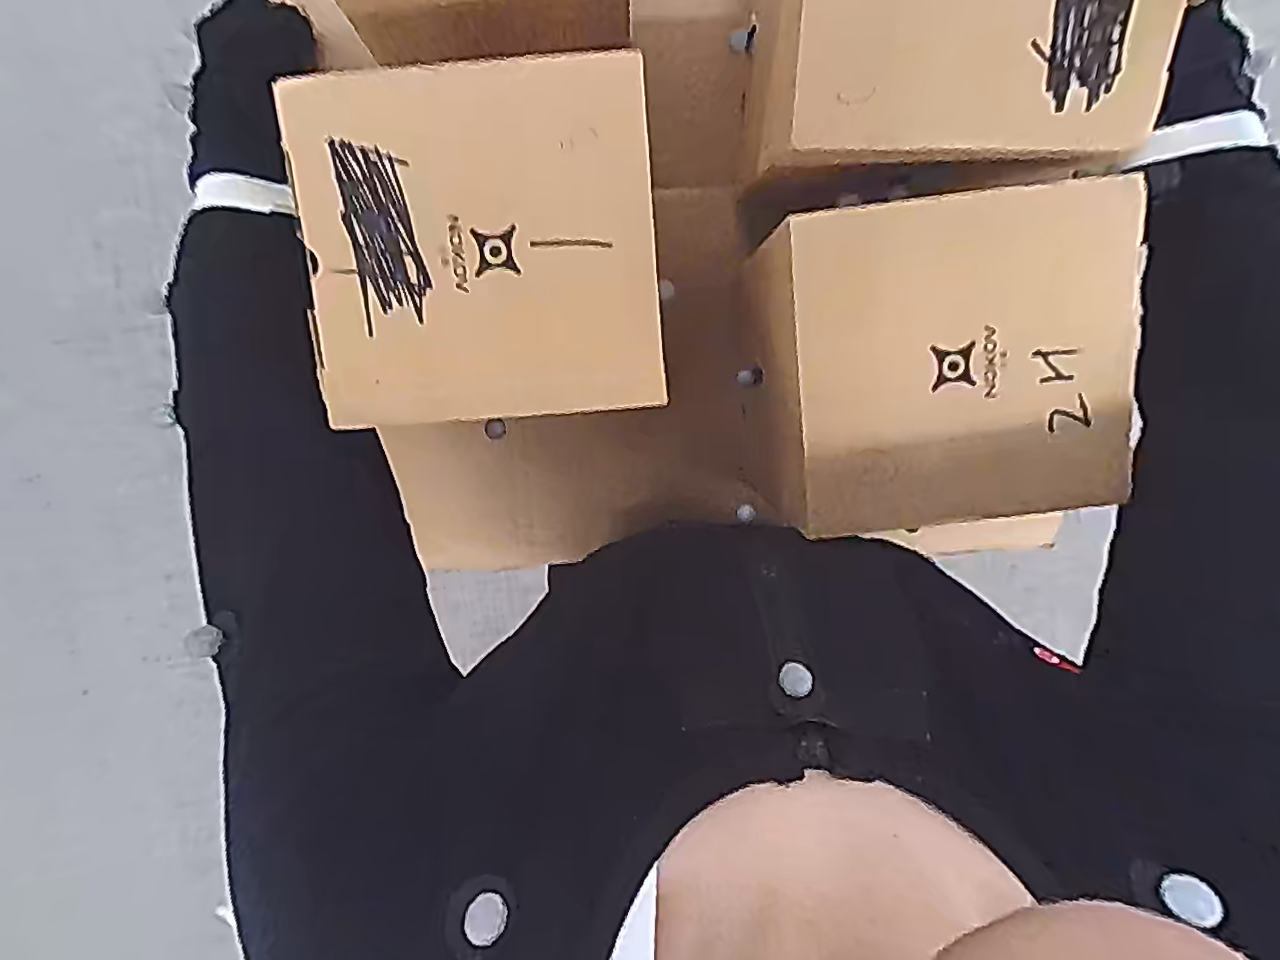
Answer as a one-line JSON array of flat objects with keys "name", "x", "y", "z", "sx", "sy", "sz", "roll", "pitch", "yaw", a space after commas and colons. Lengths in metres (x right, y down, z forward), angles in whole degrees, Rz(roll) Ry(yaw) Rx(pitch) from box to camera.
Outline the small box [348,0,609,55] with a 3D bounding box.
[{"name": "small box", "x": -0.104, "y": -0.377, "z": 0.292, "sx": 0.179, "sy": 0.176, "sz": 0.168, "roll": -7, "pitch": 96, "yaw": 2}]
